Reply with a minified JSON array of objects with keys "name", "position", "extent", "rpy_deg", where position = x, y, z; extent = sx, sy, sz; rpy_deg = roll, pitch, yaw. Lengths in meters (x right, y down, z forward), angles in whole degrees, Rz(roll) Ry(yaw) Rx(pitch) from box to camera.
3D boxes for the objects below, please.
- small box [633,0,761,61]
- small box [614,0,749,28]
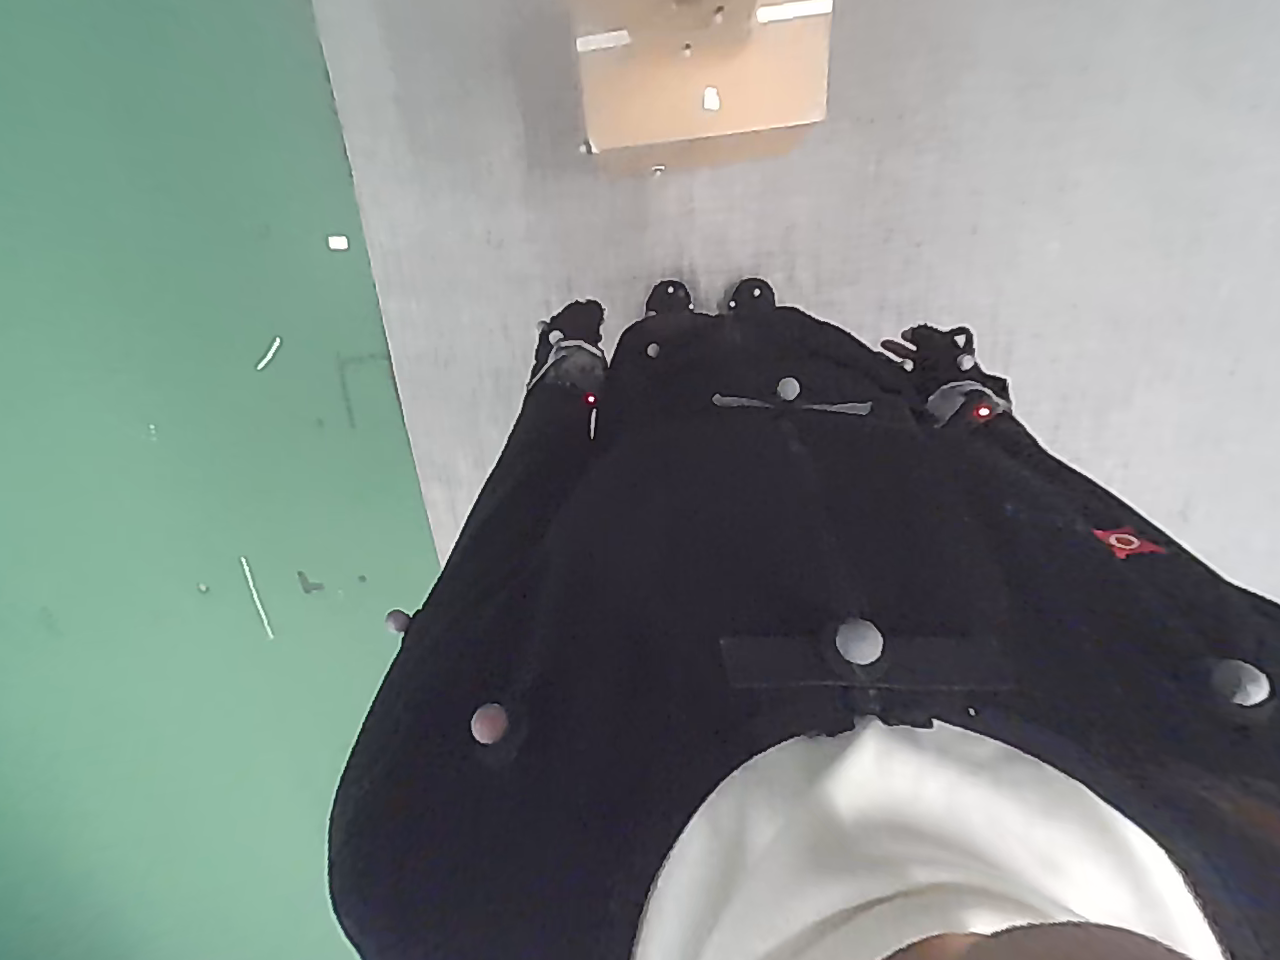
[{"name":"small box","position":[0.075,-0.726,0.774],"extent":[0.179,0.176,0.168],"rpy_deg":[-4,118,7]},{"name":"small box","position":[0.051,-0.657,0.629],"extent":[0.168,0.176,0.179],"rpy_deg":[-1,117,5]}]
